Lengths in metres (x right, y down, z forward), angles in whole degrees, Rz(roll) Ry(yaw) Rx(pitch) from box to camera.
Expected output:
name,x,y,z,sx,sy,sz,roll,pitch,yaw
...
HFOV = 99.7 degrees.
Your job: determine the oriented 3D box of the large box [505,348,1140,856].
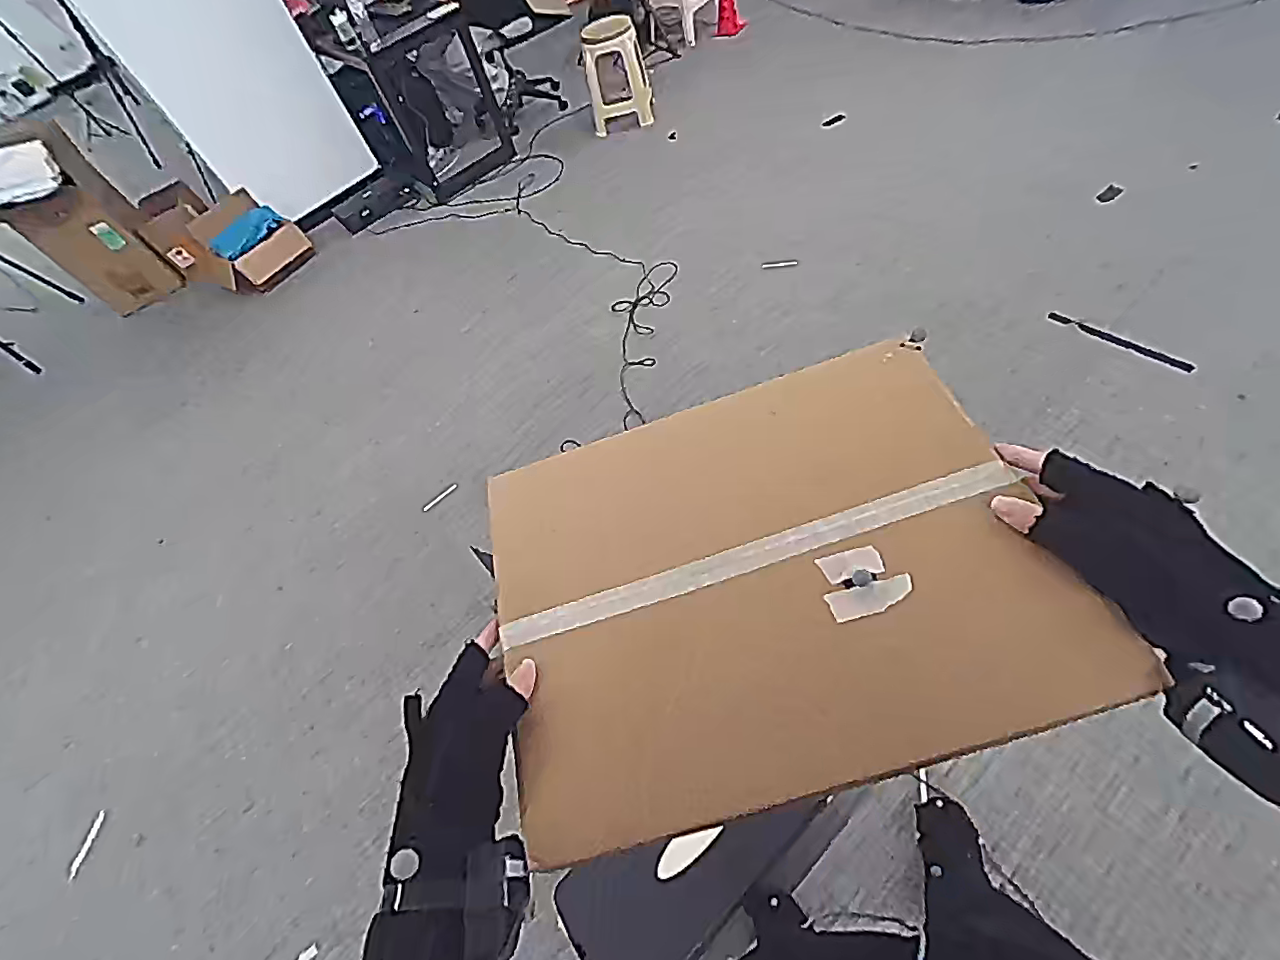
name,x,y,z,sx,sy,sz,roll,pitch,yaw
large box,0.123,0.139,0.551,0.408,0.320,0.320,-19,57,3
